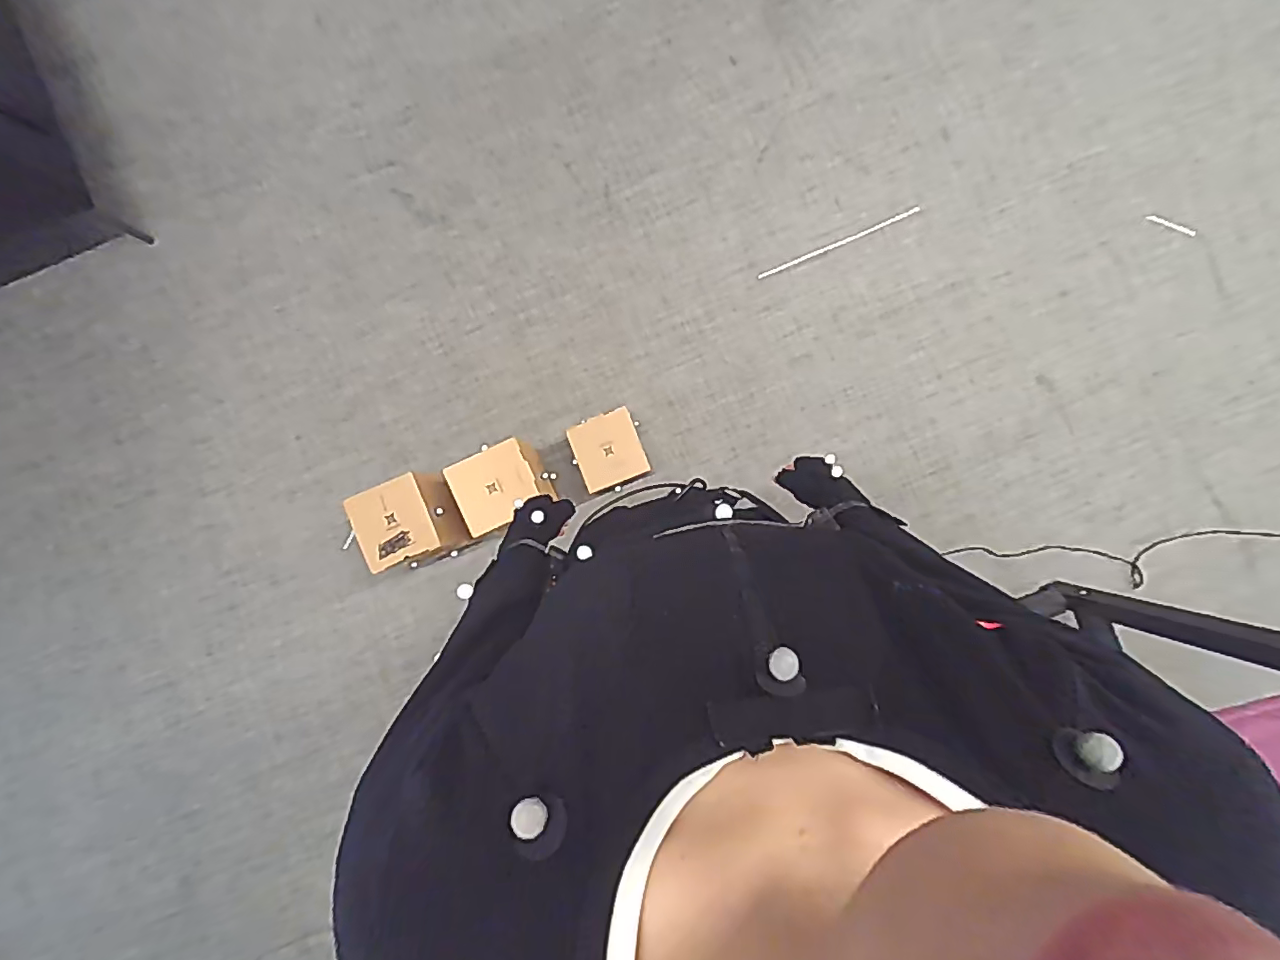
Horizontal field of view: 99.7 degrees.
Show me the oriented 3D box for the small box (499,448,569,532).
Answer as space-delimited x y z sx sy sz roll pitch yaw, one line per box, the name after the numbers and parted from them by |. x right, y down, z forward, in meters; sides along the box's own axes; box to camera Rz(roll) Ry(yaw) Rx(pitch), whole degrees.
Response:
-0.300 0.021 1.403 0.168 0.176 0.179 -24 88 2 | small box

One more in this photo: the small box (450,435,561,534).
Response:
-0.300 0.012 1.241 0.179 0.176 0.168 -25 89 0 | small box

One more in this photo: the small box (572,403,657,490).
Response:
-0.064 -0.081 1.403 0.168 0.176 0.179 -21 89 1 | small box
